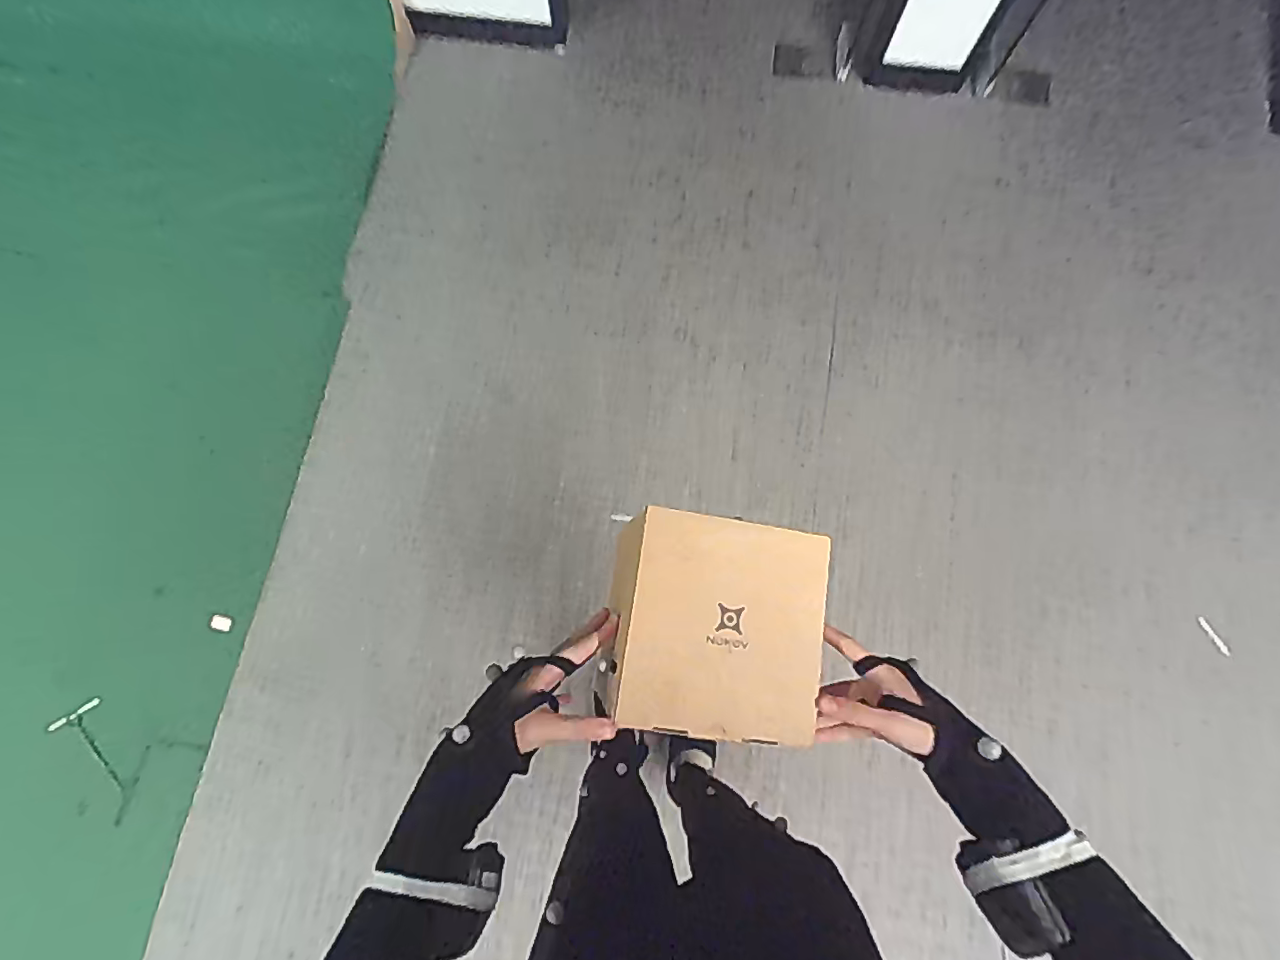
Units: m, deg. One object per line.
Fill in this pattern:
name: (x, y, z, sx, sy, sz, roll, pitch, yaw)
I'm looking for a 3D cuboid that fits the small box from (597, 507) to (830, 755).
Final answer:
small box: (0.057, 0.133, 0.510, 0.168, 0.176, 0.179, 10, 79, -8)
